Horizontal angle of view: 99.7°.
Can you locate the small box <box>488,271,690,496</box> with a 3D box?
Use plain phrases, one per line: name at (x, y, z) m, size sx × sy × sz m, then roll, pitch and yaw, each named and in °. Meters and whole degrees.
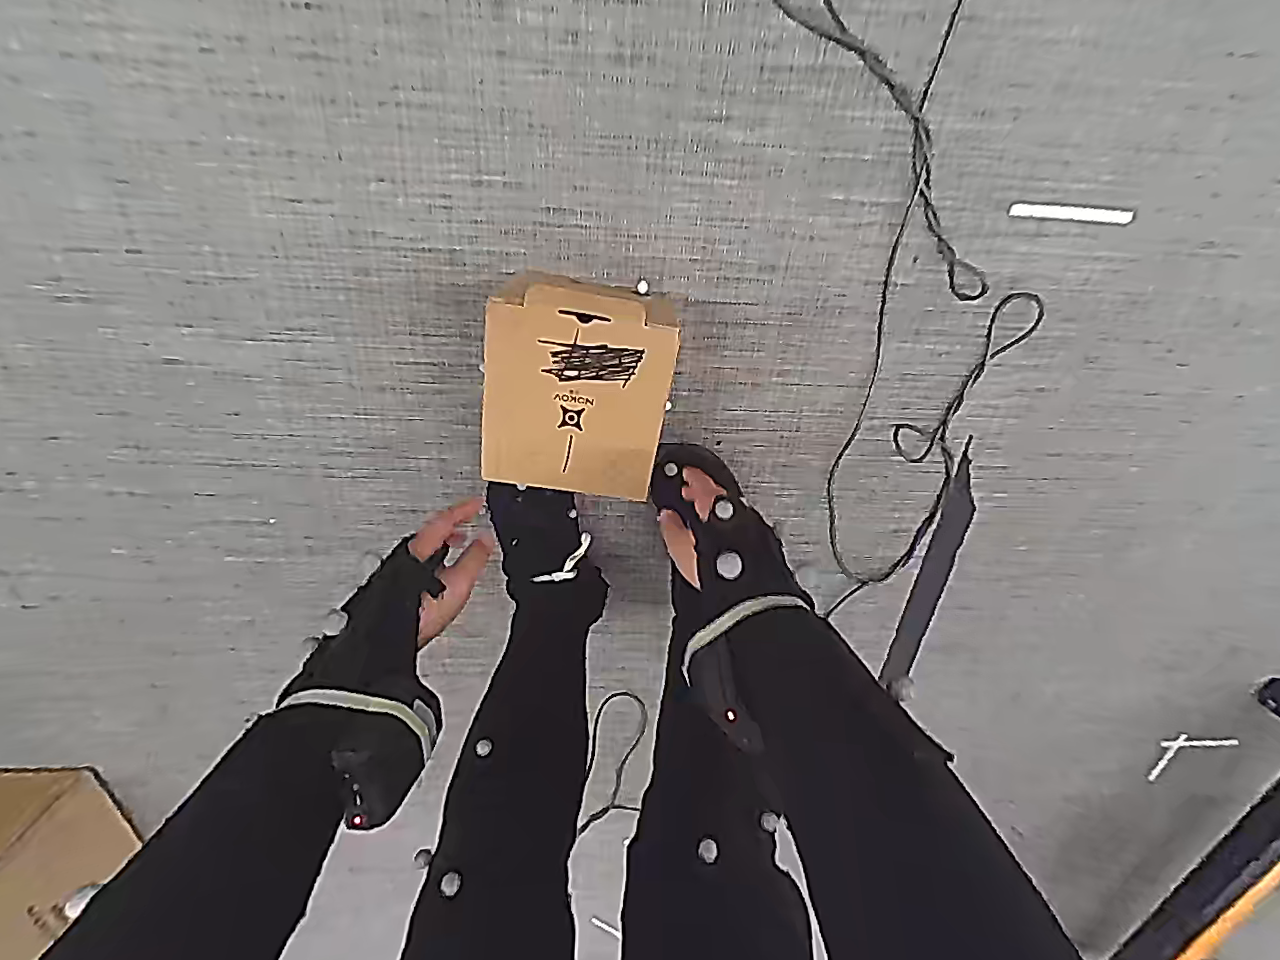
small box at (-0.054, -0.108, 0.562) m, size 0.168 × 0.176 × 0.179 m, roll 8°, pitch 118°, yaw -6°
